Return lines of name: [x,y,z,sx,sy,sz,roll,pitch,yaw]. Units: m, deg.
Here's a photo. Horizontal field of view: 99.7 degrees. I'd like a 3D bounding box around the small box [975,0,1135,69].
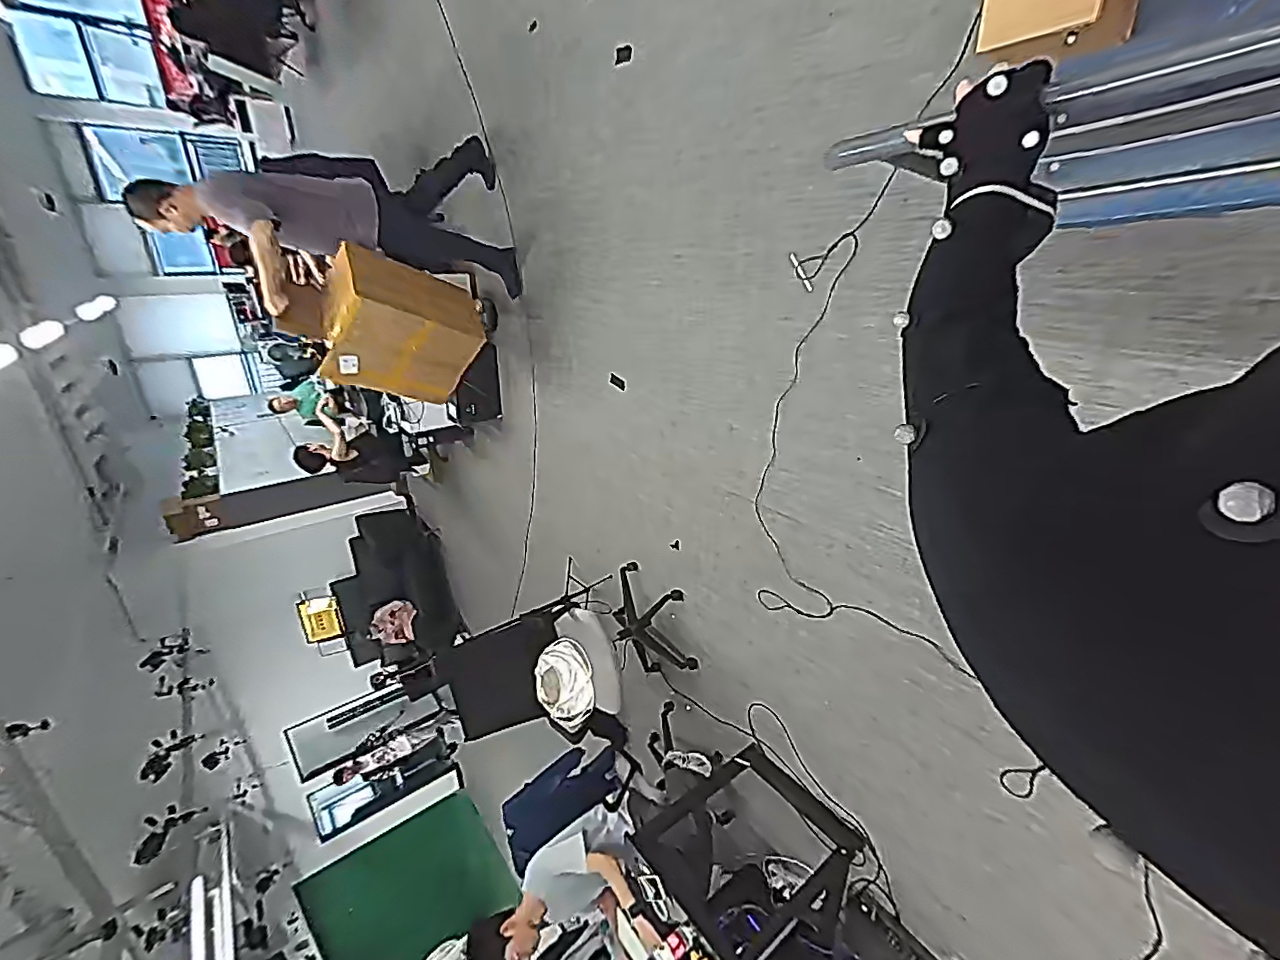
small box: [0.699,-0.816,0.897,0.179,0.176,0.168,23,122,46]
